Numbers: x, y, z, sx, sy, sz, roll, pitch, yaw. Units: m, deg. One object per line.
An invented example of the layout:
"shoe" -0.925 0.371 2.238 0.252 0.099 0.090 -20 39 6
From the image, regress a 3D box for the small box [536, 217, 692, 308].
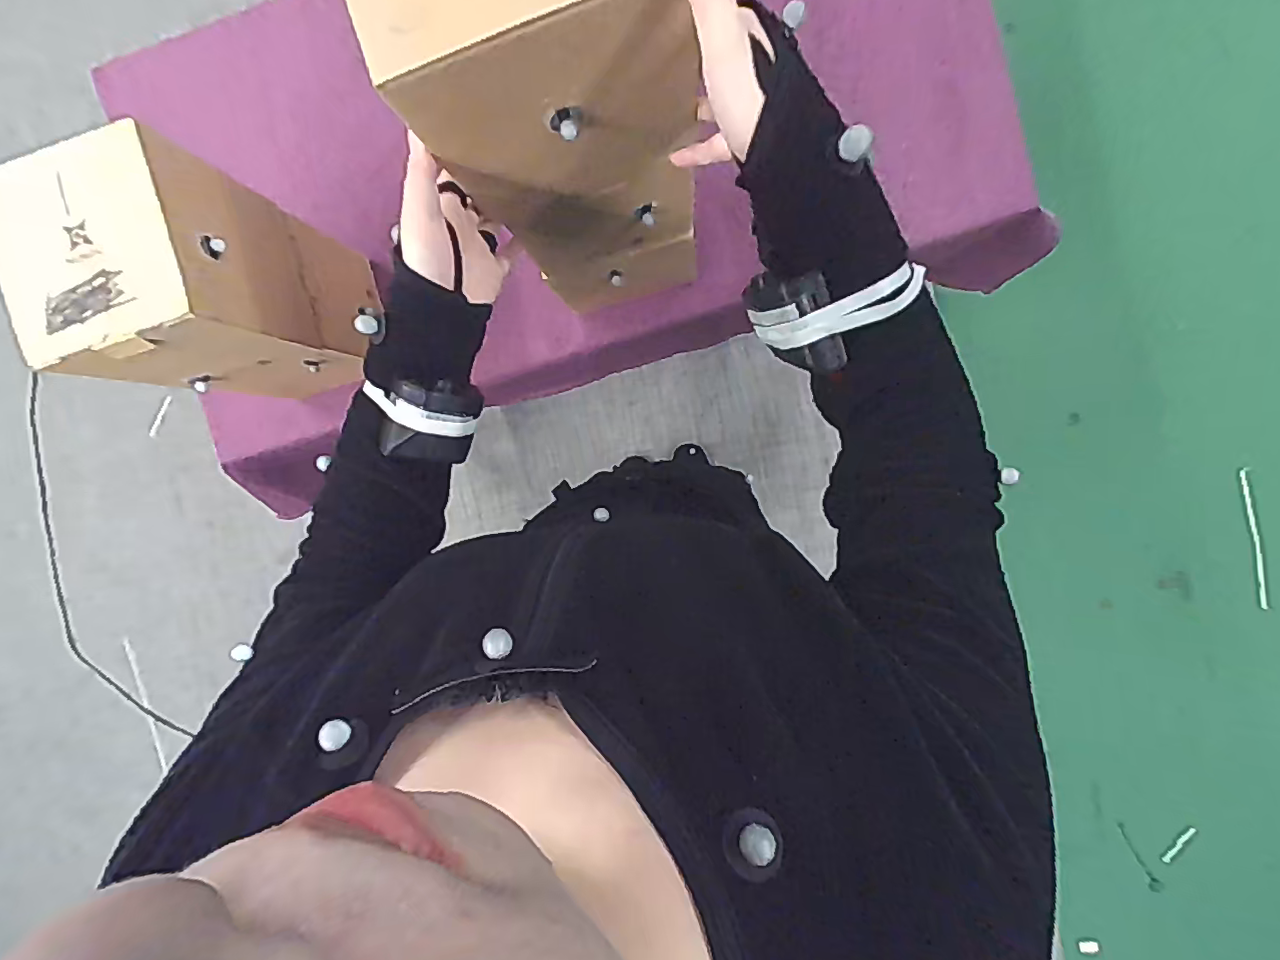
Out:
"small box" -0.036 -0.329 0.669 0.179 0.176 0.168 -13 94 5

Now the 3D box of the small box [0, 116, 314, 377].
"small box" -0.472 -0.210 0.547 0.168 0.176 0.179 -16 92 4

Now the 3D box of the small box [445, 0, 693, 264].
"small box" -0.050 -0.323 0.507 0.168 0.176 0.179 -16 92 5

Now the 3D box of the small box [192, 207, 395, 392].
"small box" -0.461 -0.220 0.710 0.179 0.176 0.168 -15 93 4
